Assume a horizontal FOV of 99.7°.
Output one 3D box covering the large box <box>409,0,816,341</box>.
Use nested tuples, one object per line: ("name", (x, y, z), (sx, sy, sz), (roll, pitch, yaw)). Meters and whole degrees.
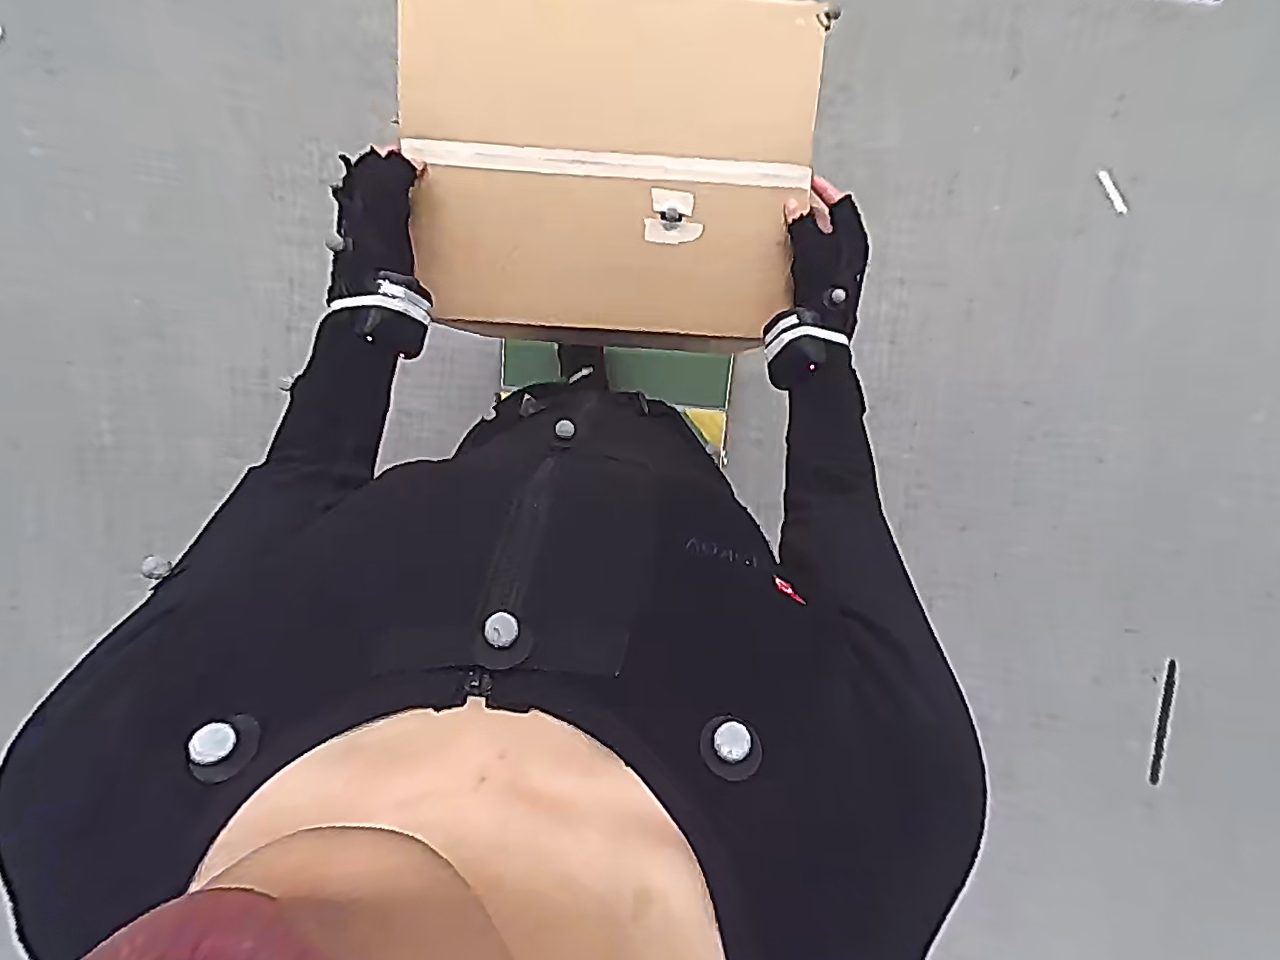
("large box", (-0.037, -0.354, 0.696), (0.408, 0.320, 0.320), (2, 101, -3))
